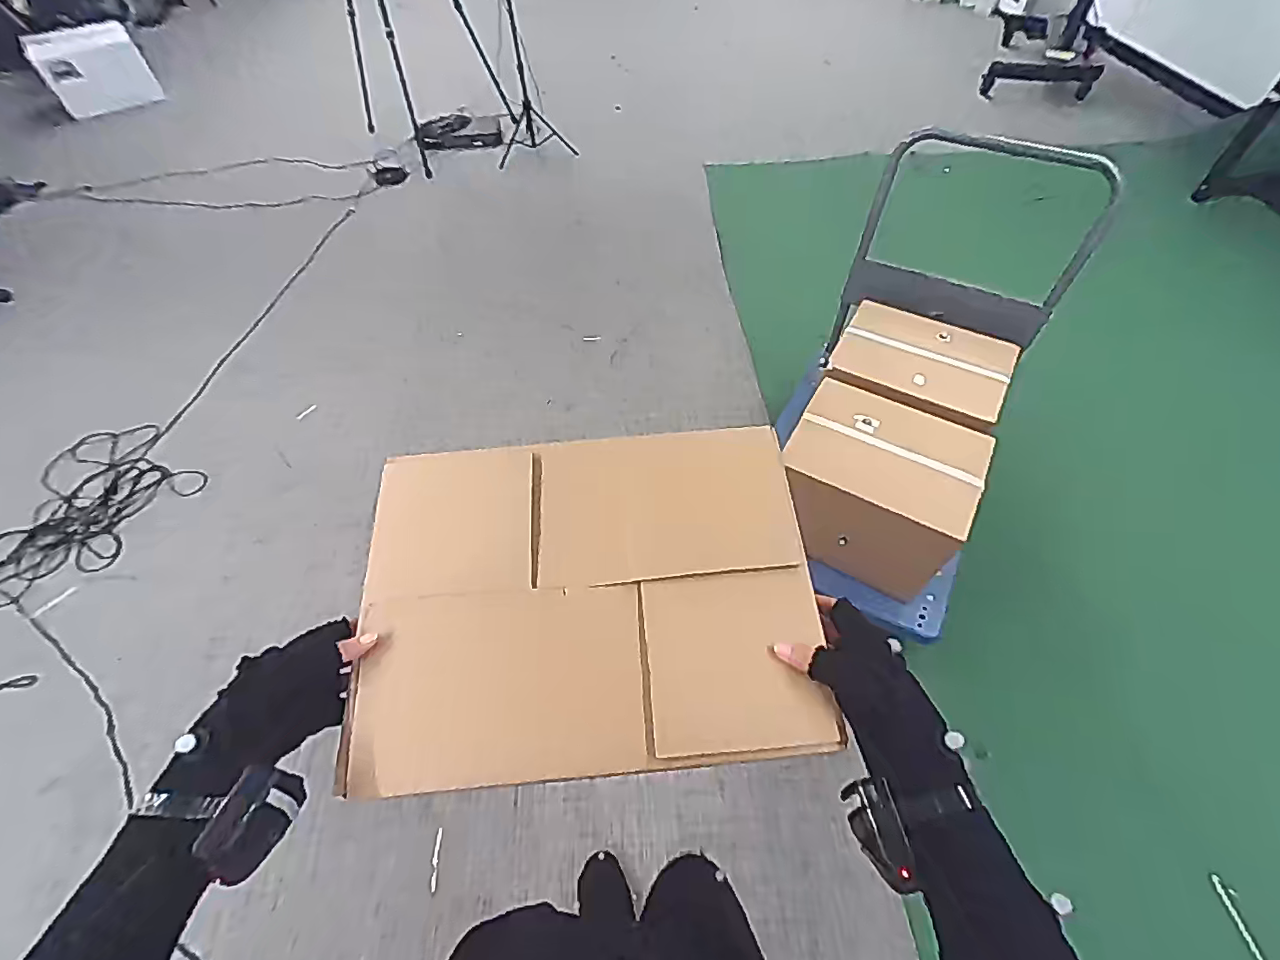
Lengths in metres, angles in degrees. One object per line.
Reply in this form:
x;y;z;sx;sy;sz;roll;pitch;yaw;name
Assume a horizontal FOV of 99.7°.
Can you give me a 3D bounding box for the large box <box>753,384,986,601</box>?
0.538;0.031;1.323;0.408;0.320;0.320;25;59;20;large box
